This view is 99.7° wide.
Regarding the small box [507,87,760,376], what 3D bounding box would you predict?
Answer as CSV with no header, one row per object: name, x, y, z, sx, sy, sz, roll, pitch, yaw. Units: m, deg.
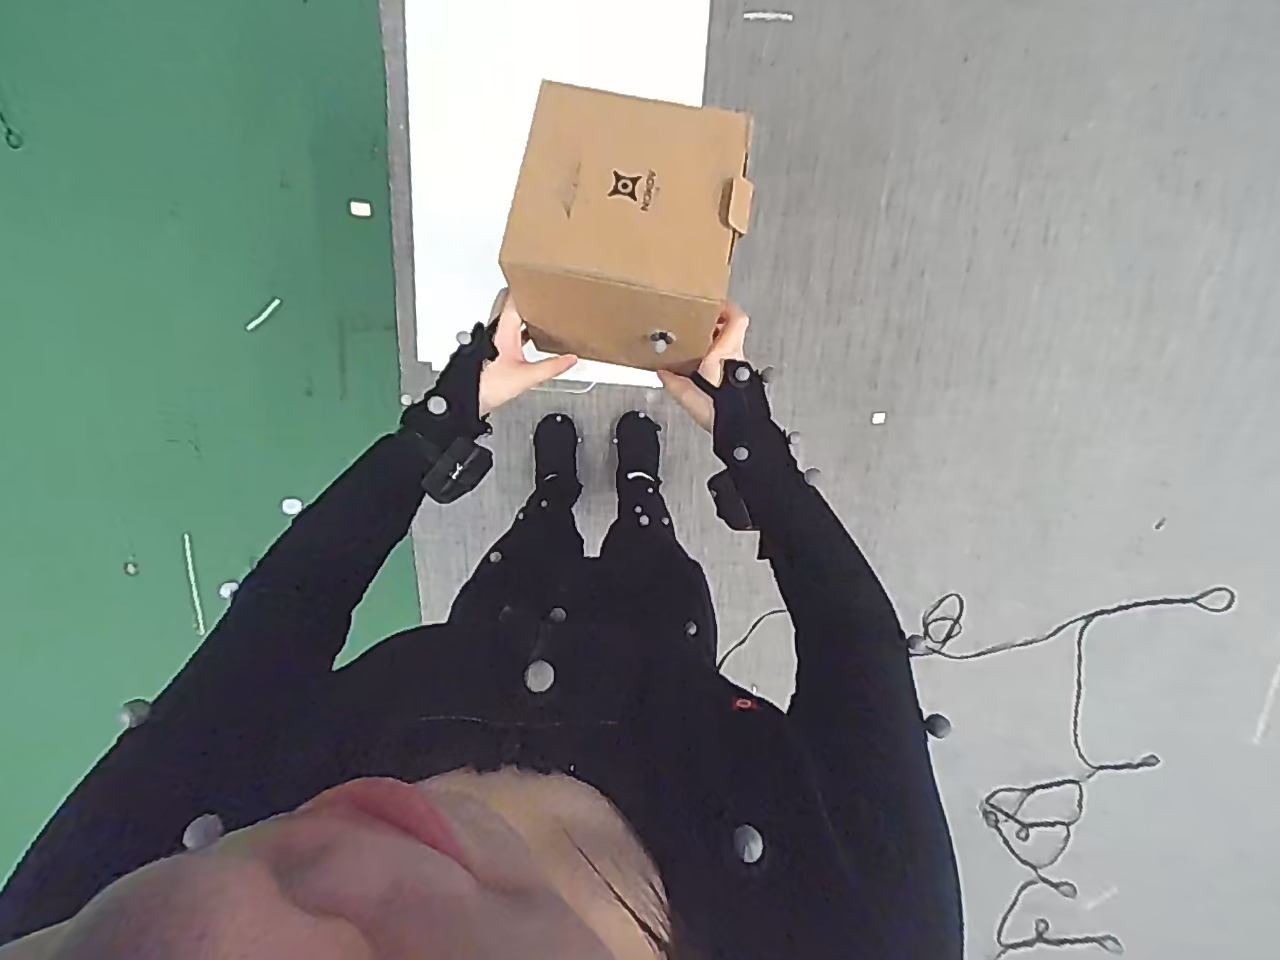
small box,-0.004,-0.210,0.501,0.179,0.176,0.168,10,79,1
